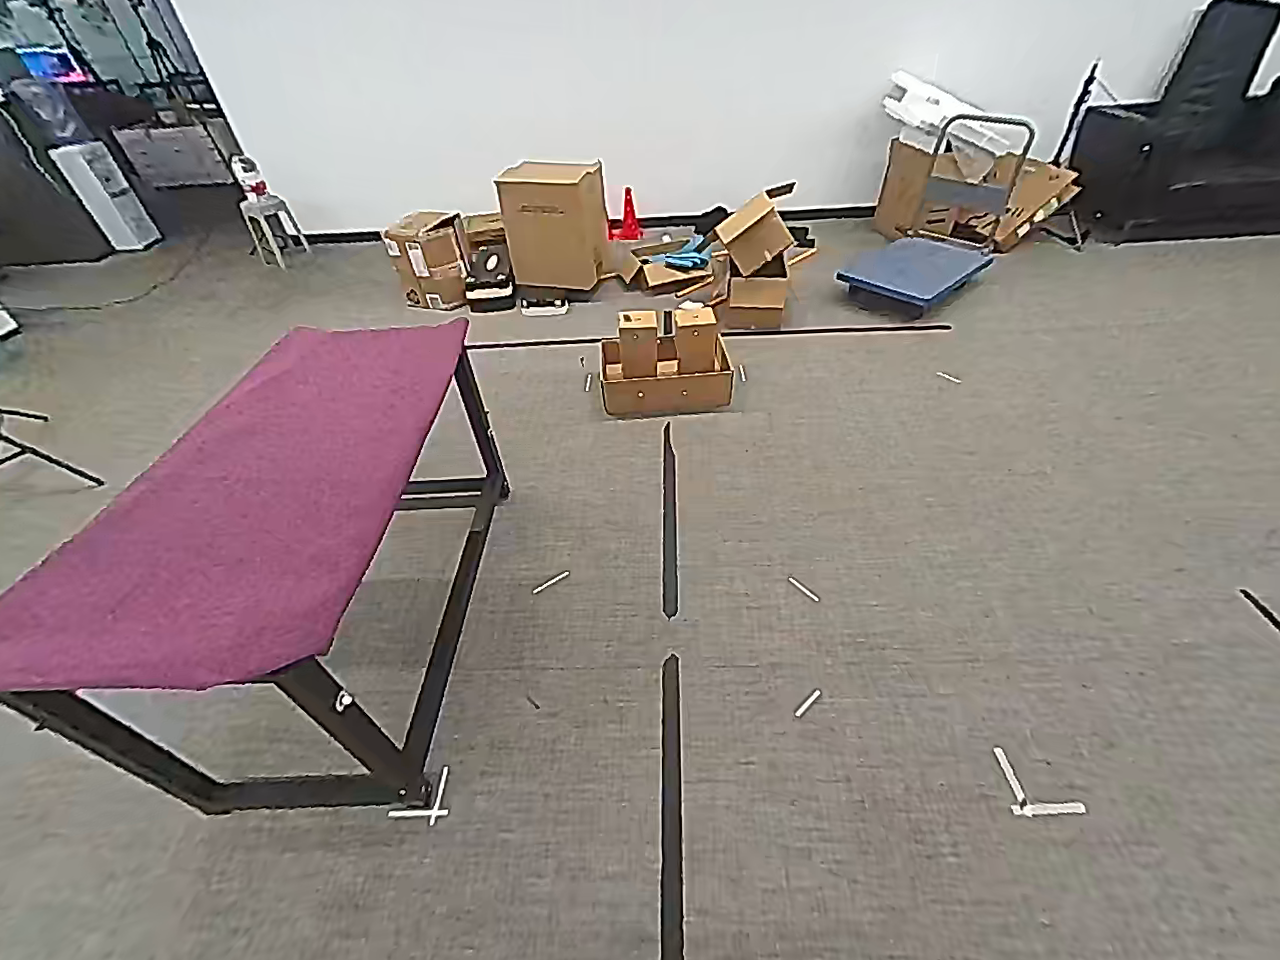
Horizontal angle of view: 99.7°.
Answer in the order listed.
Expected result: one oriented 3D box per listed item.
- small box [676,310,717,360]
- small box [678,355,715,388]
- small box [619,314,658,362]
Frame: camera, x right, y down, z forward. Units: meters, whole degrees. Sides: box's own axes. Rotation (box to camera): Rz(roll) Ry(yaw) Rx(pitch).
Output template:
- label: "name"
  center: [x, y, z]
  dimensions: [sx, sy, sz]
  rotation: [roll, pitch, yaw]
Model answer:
- label: "small box"
  center: [0.262, -0.679, 2.540]
  dimensions: [0.179, 0.176, 0.168]
  rotation: [-5, 42, 1]
- label: "small box"
  center: [0.275, -0.561, 2.651]
  dimensions: [0.168, 0.176, 0.179]
  rotation: [-4, 41, 0]
- label: "small box"
  center: [-0.005, -0.667, 2.546]
  dimensions: [0.179, 0.176, 0.168]
  rotation: [-2, 43, -1]
